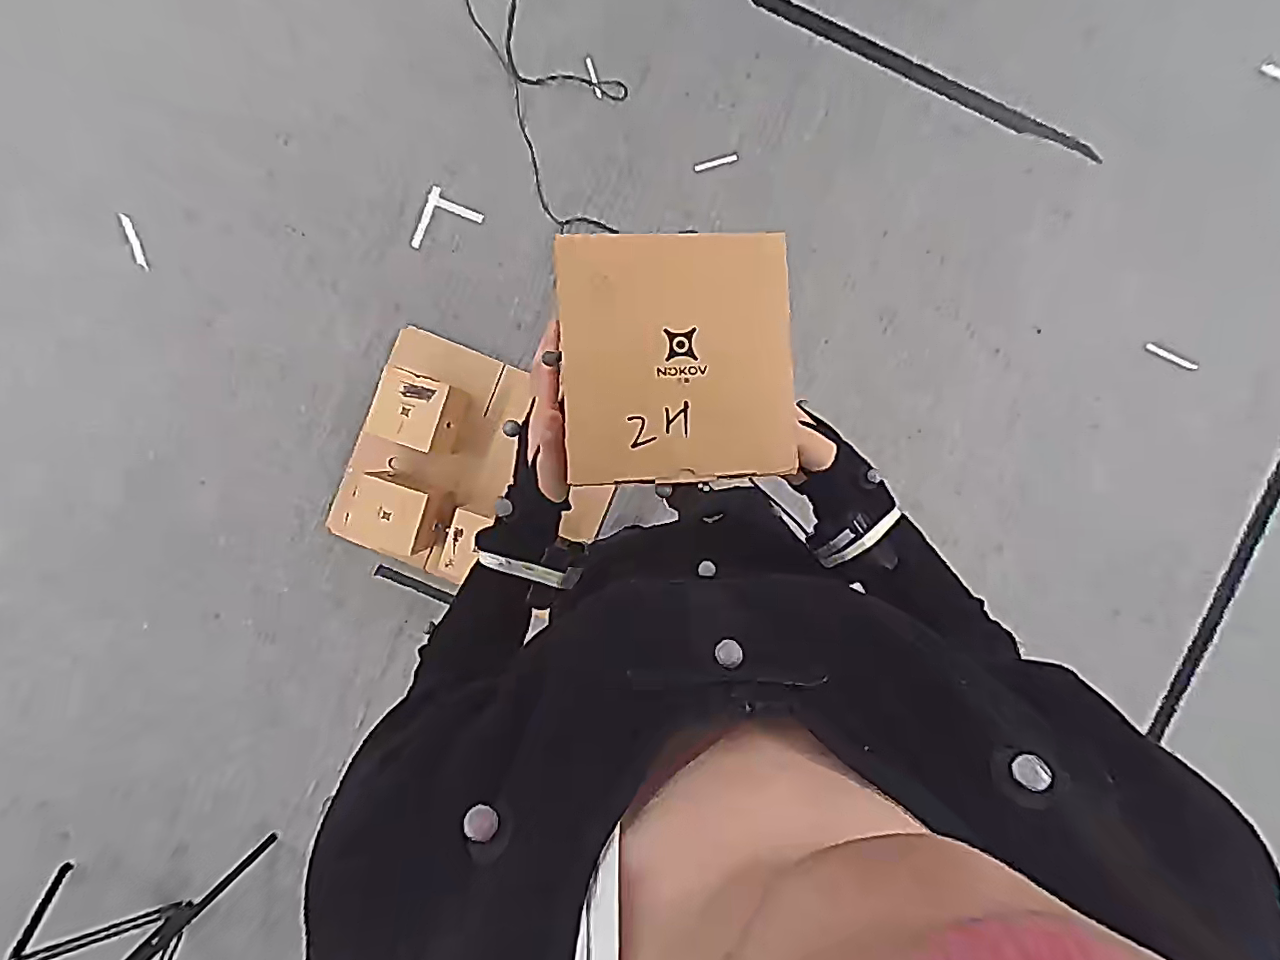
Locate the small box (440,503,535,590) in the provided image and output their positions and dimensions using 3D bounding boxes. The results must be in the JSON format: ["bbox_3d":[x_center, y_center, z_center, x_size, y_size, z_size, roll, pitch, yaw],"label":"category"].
[{"bbox_3d":[-0.382,0.163,1.391,0.179,0.176,0.168,18,91,-2],"label":"small box"}]

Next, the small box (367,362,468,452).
[{"bbox_3d":[-0.556,-0.179,1.379,0.168,0.176,0.179,19,92,-1],"label":"small box"}]

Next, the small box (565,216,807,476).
[{"bbox_3d":[0.024,-0.095,0.451,0.168,0.176,0.179,-4,91,-5],"label":"small box"}]
